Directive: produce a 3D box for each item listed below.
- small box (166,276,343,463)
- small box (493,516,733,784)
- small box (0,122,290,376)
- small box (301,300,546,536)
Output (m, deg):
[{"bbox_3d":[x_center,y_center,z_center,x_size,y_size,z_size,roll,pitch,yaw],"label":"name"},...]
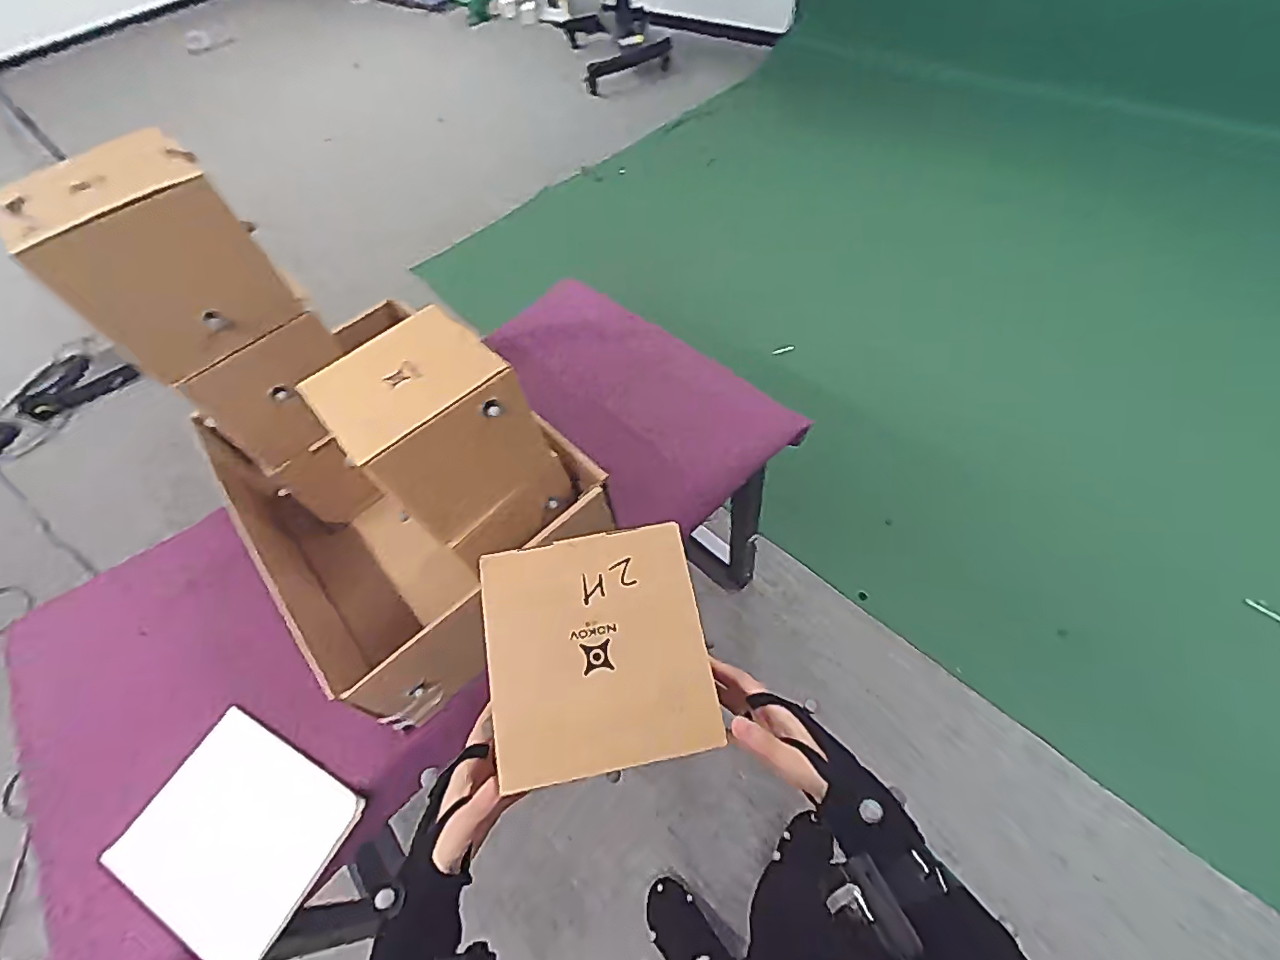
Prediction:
[{"bbox_3d":[-0.509,-0.160,0.730,0.168,0.176,0.179,37,68,26],"label":"small box"},{"bbox_3d":[-0.027,0.149,0.482,0.168,0.176,0.179,-8,68,-6],"label":"small box"},{"bbox_3d":[-0.528,-0.251,0.596,0.179,0.176,0.168,-40,61,-20],"label":"small box"},{"bbox_3d":[-0.236,-0.068,0.626,0.179,0.176,0.168,-40,58,-19],"label":"small box"}]
